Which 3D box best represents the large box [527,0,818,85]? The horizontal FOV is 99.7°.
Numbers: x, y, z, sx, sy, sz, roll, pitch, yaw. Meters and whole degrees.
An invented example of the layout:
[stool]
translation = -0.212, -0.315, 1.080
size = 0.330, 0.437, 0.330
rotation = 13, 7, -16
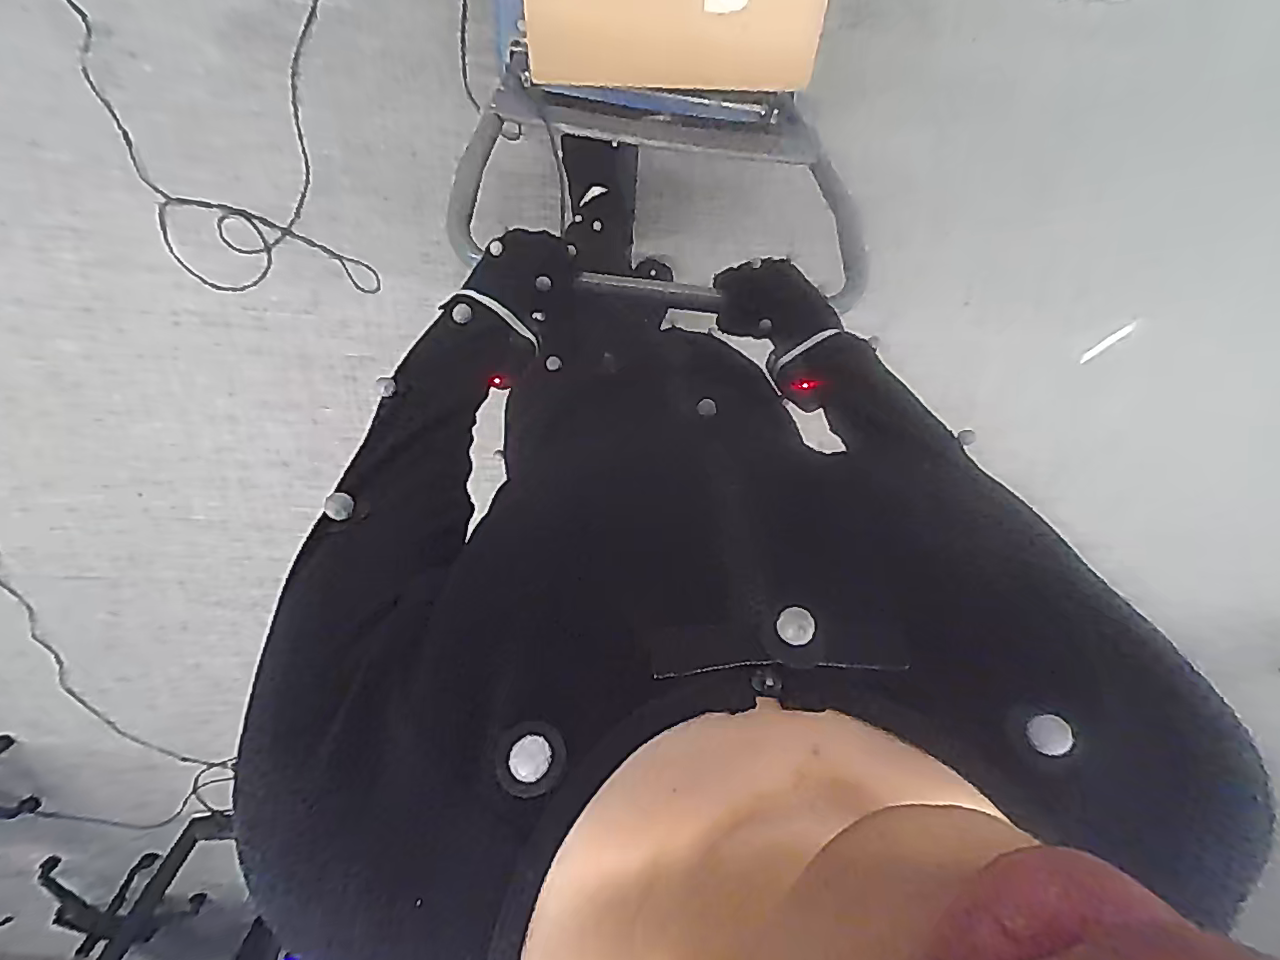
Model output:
[large box]
translation = 0.040, -0.799, 0.788
size = 0.408, 0.320, 0.320
rotation = 0, 138, -2
